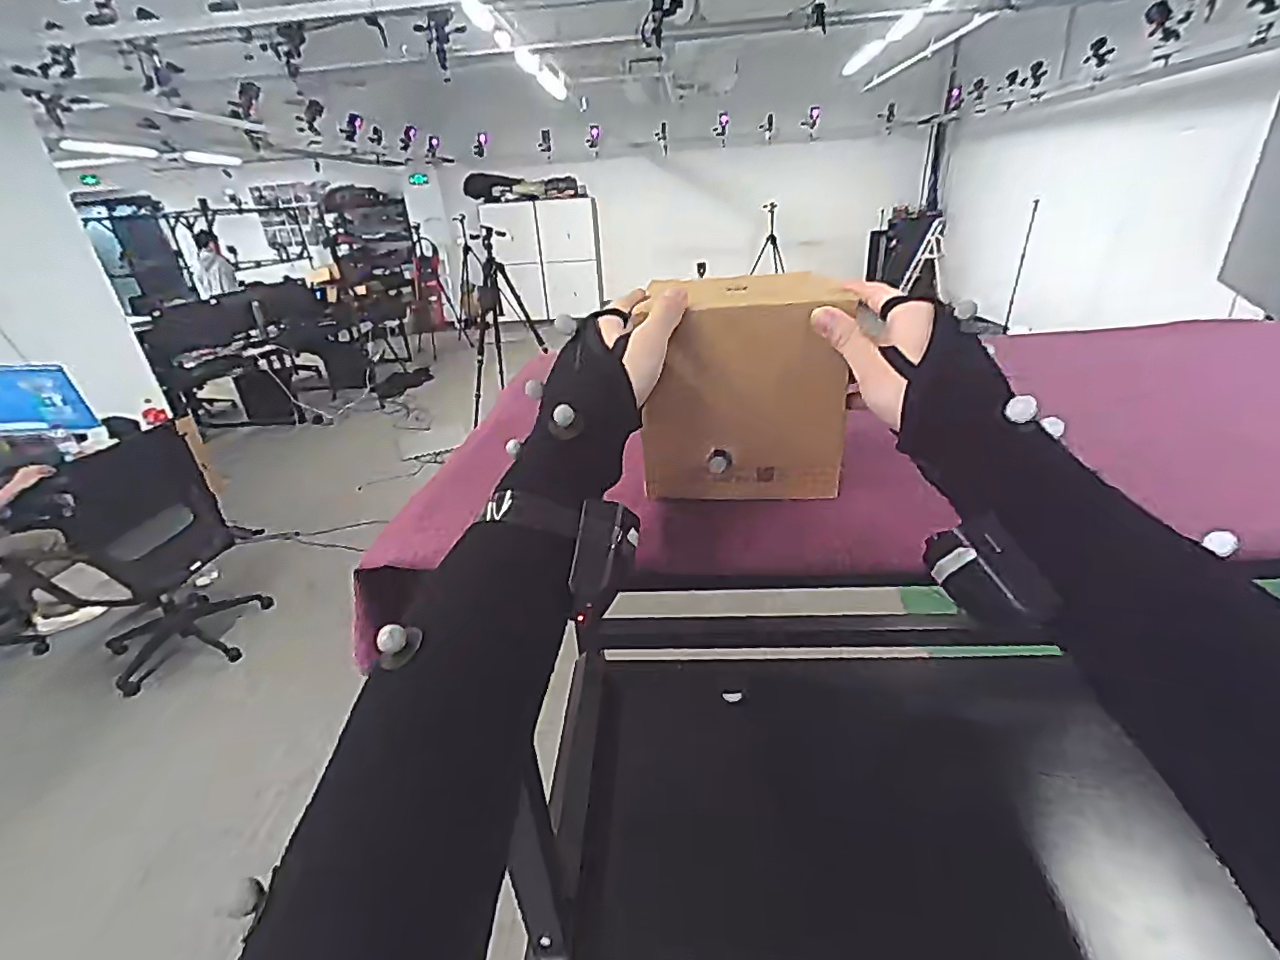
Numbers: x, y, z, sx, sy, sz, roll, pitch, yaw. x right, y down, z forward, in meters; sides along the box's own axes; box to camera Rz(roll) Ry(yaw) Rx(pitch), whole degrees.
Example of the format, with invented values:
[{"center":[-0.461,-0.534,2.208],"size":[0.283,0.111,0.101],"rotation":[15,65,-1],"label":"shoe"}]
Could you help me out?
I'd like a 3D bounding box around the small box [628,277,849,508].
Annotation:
[{"center":[0.085,-0.088,0.508],"size":[0.168,0.176,0.179],"rotation":[-1,27,8],"label":"small box"}]
